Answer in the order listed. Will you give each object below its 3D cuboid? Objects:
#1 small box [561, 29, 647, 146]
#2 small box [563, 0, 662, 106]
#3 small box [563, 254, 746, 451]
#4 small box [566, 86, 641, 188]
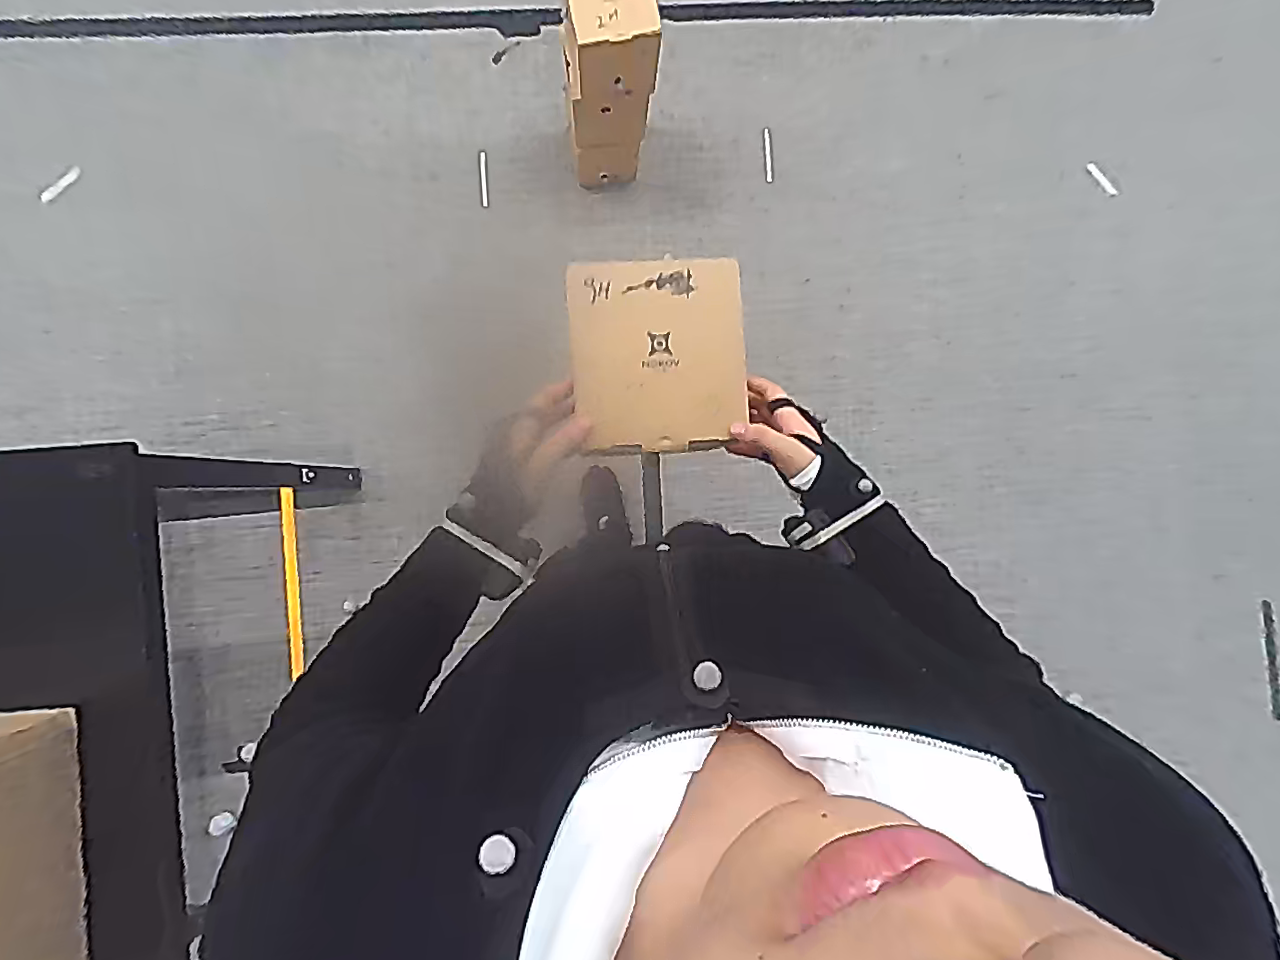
[{"bbox_3d":[-0.080,-0.910,1.259,0.179,0.176,0.168,-9,90,-4],"label":"small box"},{"bbox_3d":[-0.060,-0.909,1.095,0.168,0.176,0.179,-13,91,-3],"label":"small box"},{"bbox_3d":[0.010,-0.123,0.580,0.168,0.176,0.179,-4,92,-5],"label":"small box"},{"bbox_3d":[-0.096,-0.906,1.422,0.168,0.176,0.179,-11,91,-3],"label":"small box"}]
